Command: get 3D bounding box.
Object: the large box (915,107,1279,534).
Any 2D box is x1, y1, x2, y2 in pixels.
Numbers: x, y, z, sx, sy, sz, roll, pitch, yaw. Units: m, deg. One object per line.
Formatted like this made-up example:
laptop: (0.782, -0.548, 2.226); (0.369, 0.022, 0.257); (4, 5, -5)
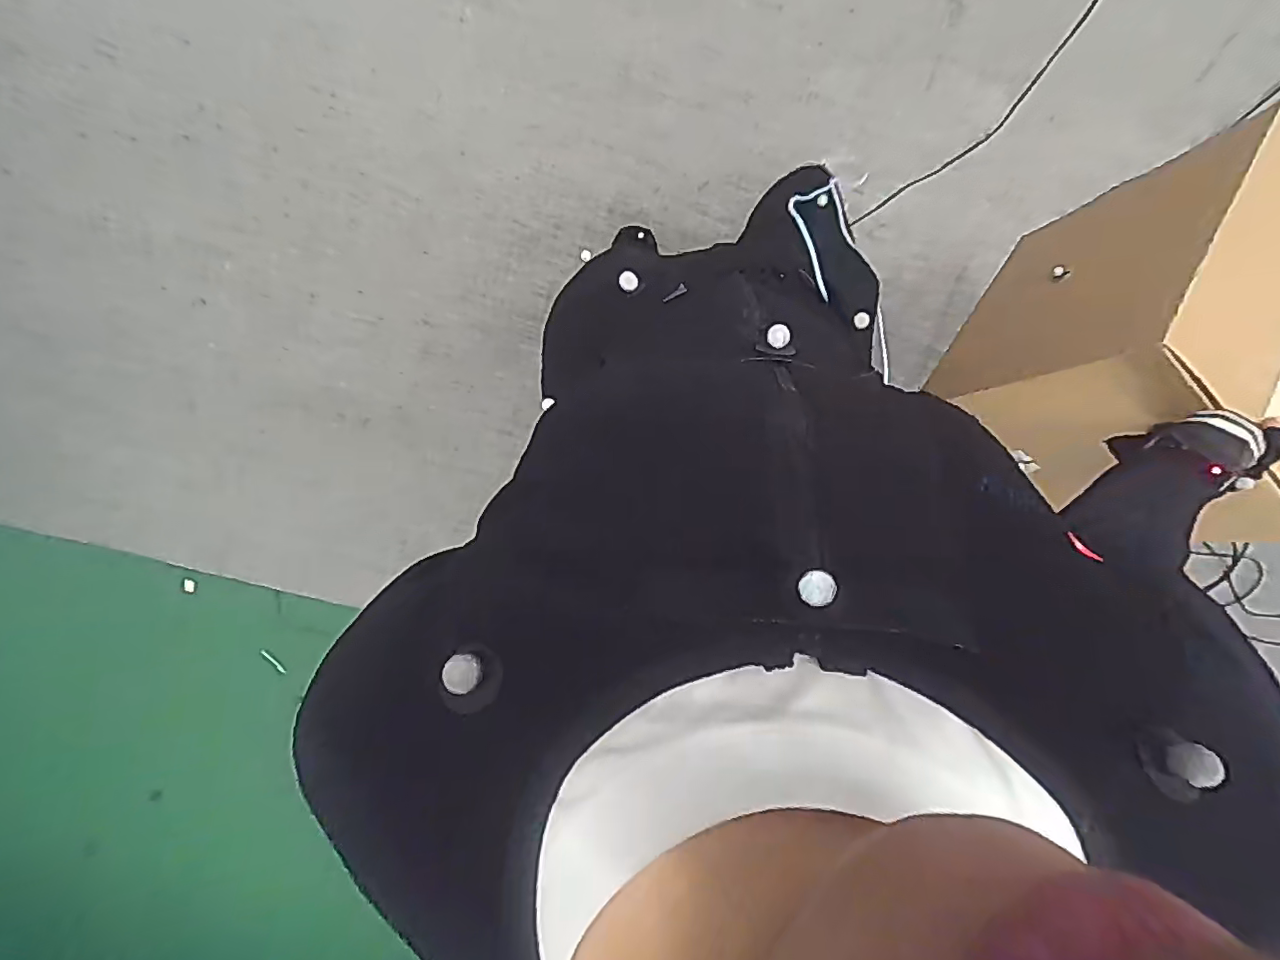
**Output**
large box: (0.673, -0.172, 0.744); (0.320, 0.320, 0.408); (41, 75, -11)
